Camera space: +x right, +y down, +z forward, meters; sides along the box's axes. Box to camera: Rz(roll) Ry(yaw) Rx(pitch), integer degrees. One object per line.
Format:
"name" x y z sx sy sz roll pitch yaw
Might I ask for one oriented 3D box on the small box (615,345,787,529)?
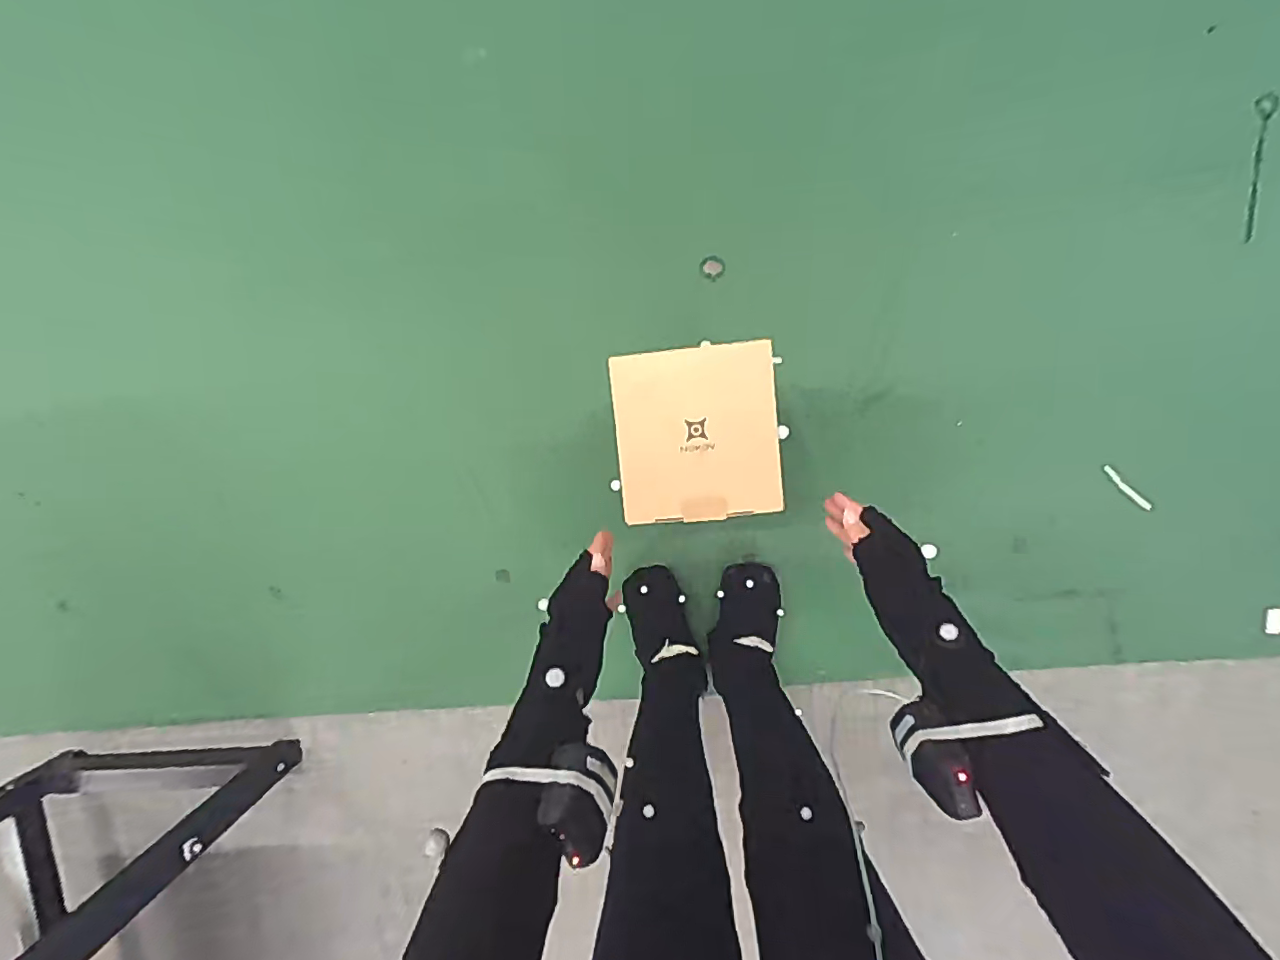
"small box" 0.066 -0.050 0.629 0.168 0.176 0.179 -6 96 5
